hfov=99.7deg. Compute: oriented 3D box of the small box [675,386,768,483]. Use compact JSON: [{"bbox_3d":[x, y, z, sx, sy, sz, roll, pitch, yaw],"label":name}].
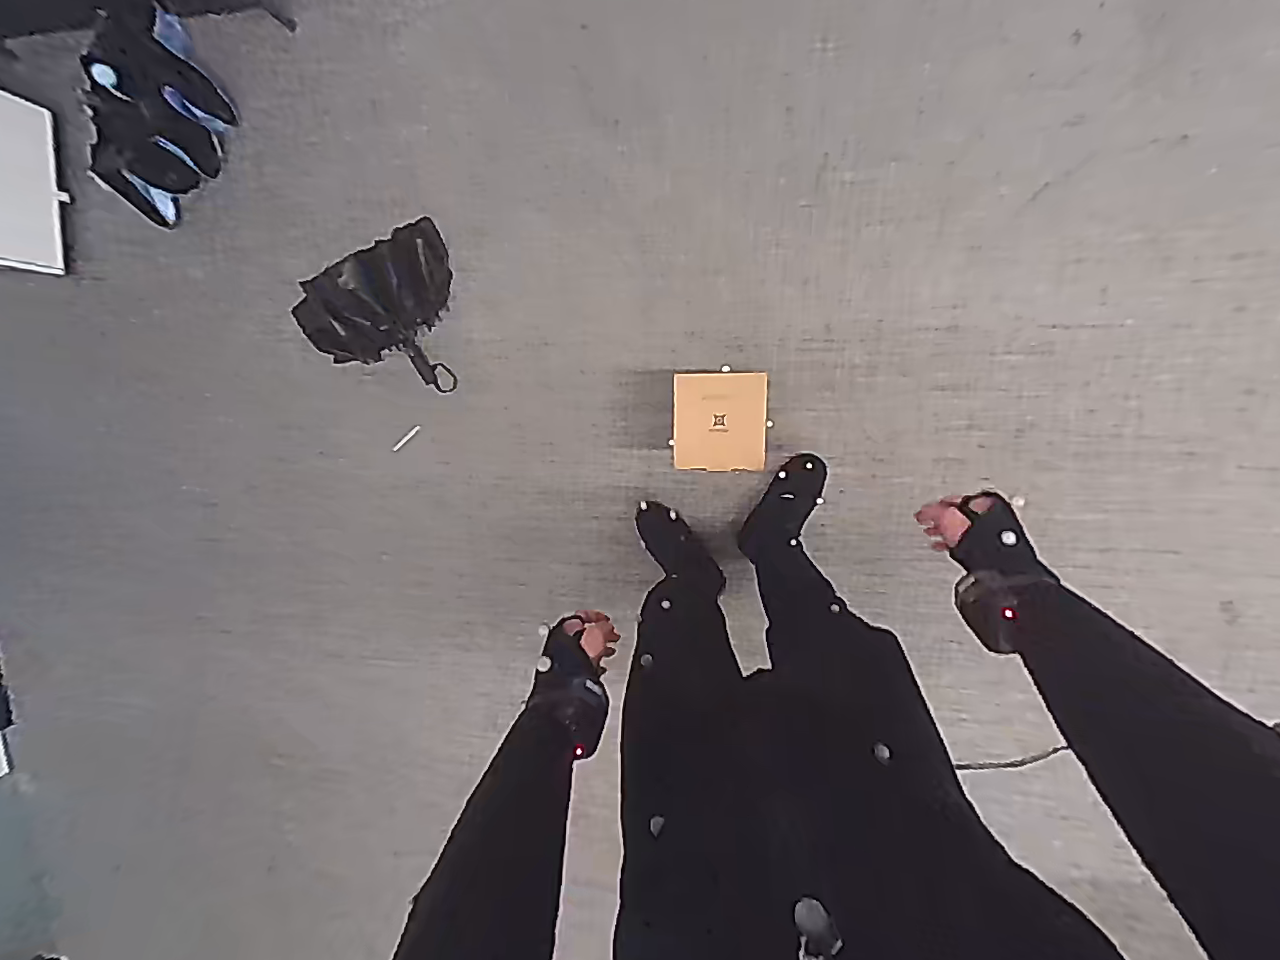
[{"bbox_3d":[0.157,-0.093,1.055,0.168,0.176,0.179,0,98,7],"label":"small box"}]
